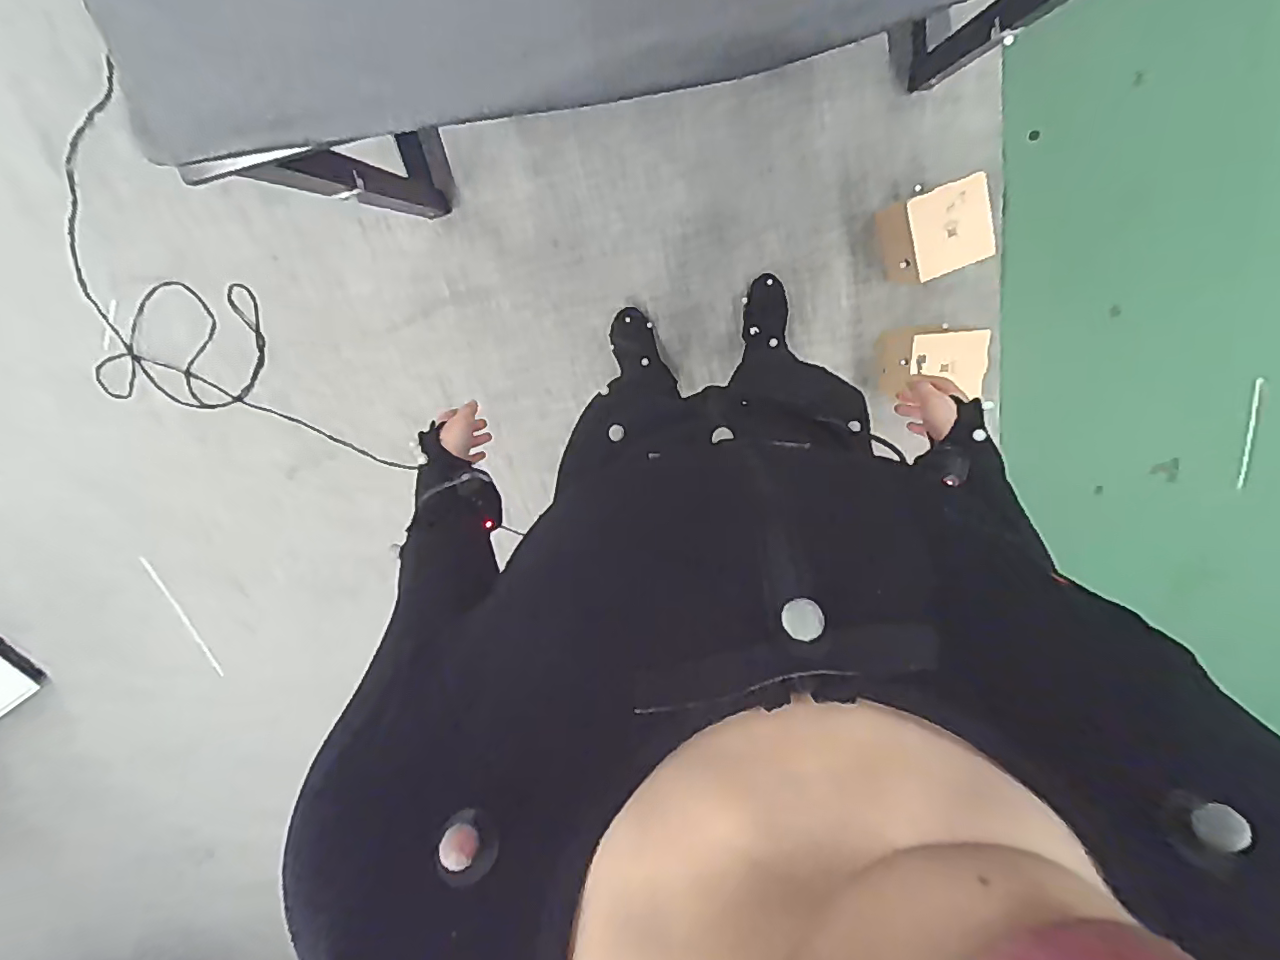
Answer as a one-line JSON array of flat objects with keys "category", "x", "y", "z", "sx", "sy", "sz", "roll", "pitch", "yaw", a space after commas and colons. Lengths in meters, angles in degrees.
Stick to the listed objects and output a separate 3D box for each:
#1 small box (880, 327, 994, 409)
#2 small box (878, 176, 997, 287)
[{"category": "small box", "x": 0.714, "y": -0.278, "z": 1.319, "sx": 0.179, "sy": 0.176, "sz": 0.168, "roll": -3, "pitch": 112, "yaw": 2}, {"category": "small box", "x": 0.661, "y": -0.550, "z": 1.215, "sx": 0.168, "sy": 0.176, "sz": 0.179, "roll": -19, "pitch": 110, "yaw": 8}]
